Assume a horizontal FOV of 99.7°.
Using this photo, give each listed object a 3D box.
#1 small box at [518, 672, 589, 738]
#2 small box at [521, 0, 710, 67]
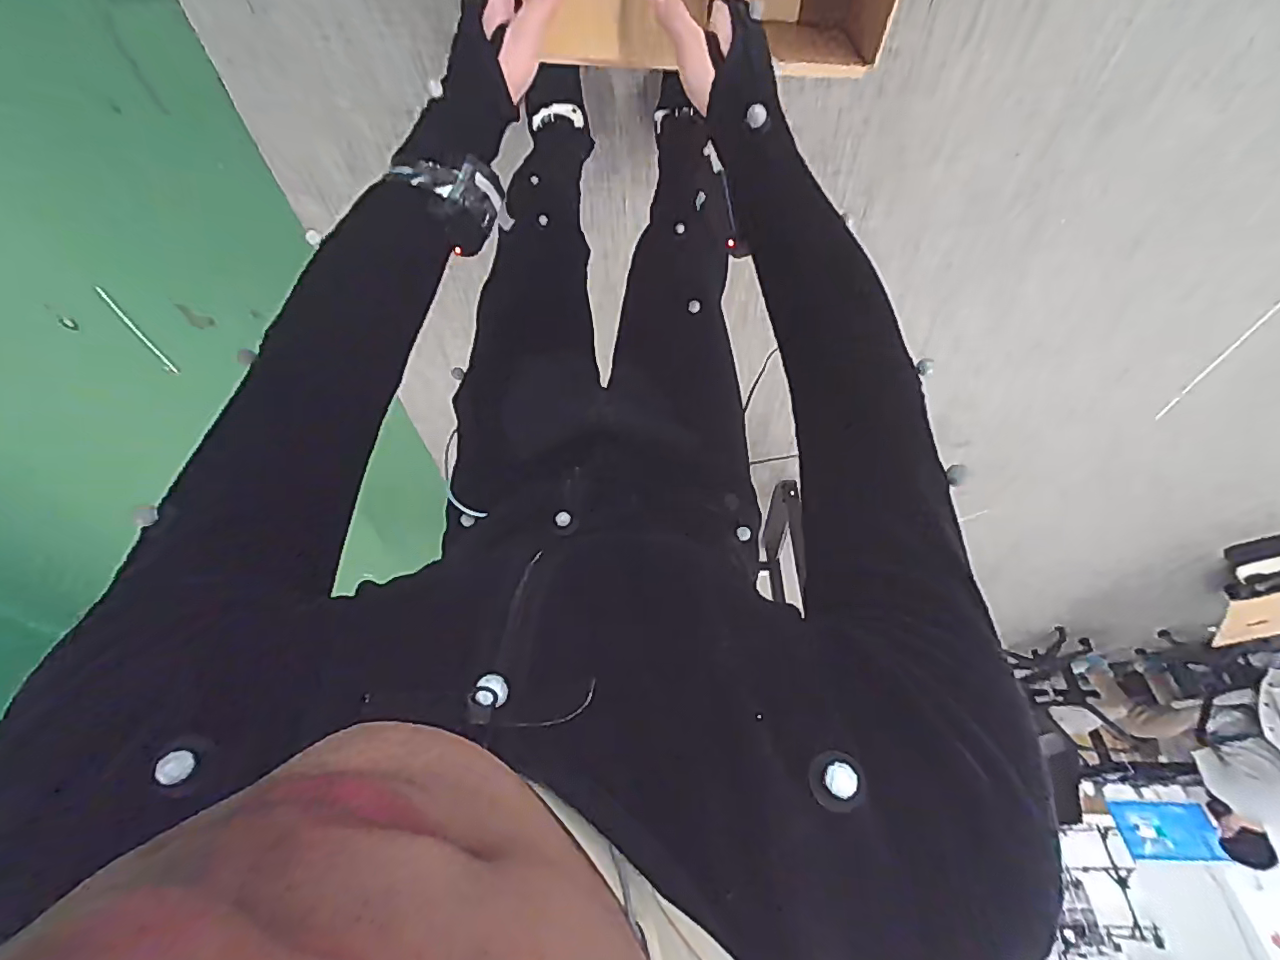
[{"bbox_3d":[-0.289,0.768,1.843,0.179,0.176,0.168,-23,139,28],"label":"small box"},{"bbox_3d":[-0.016,-0.501,0.467,0.168,0.176,0.179,2,147,-4],"label":"small box"}]
